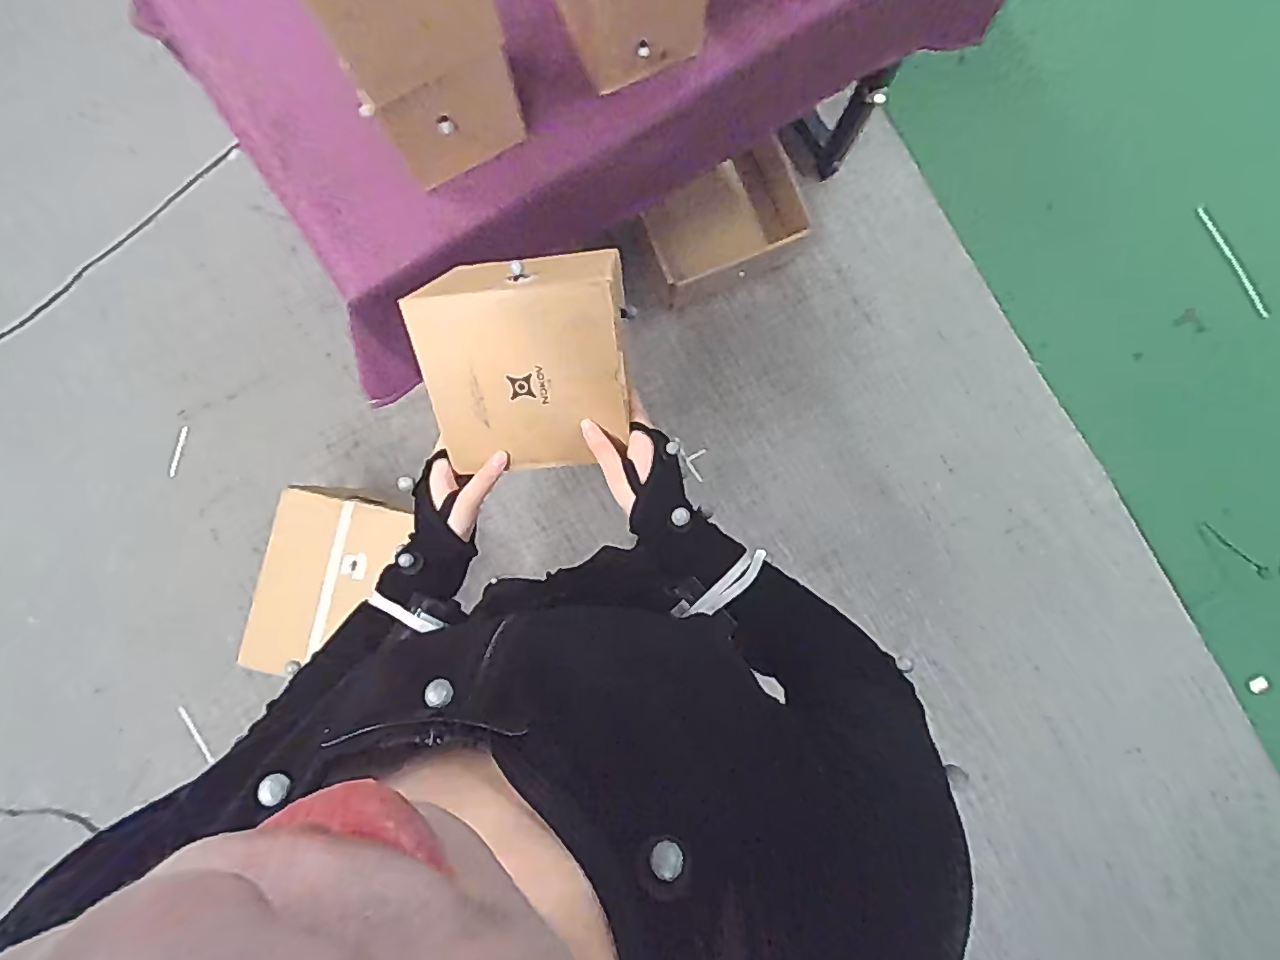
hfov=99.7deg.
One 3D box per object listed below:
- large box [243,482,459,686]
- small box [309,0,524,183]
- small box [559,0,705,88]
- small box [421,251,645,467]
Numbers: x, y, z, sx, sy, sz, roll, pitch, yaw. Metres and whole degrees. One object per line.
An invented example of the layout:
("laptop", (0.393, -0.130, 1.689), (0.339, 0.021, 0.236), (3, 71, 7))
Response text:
("large box", (-0.683, 0.237, 1.338), (0.320, 0.320, 0.408), (13, 87, -1))
("small box", (-0.277, -0.538, 0.713), (0.179, 0.176, 0.168), (-29, 89, -1))
("small box", (-0.020, -0.687, 0.724), (0.168, 0.176, 0.179), (-24, 89, -1))
("small box", (-0.088, -0.128, 0.541), (0.179, 0.176, 0.168), (-3, 120, 2))
